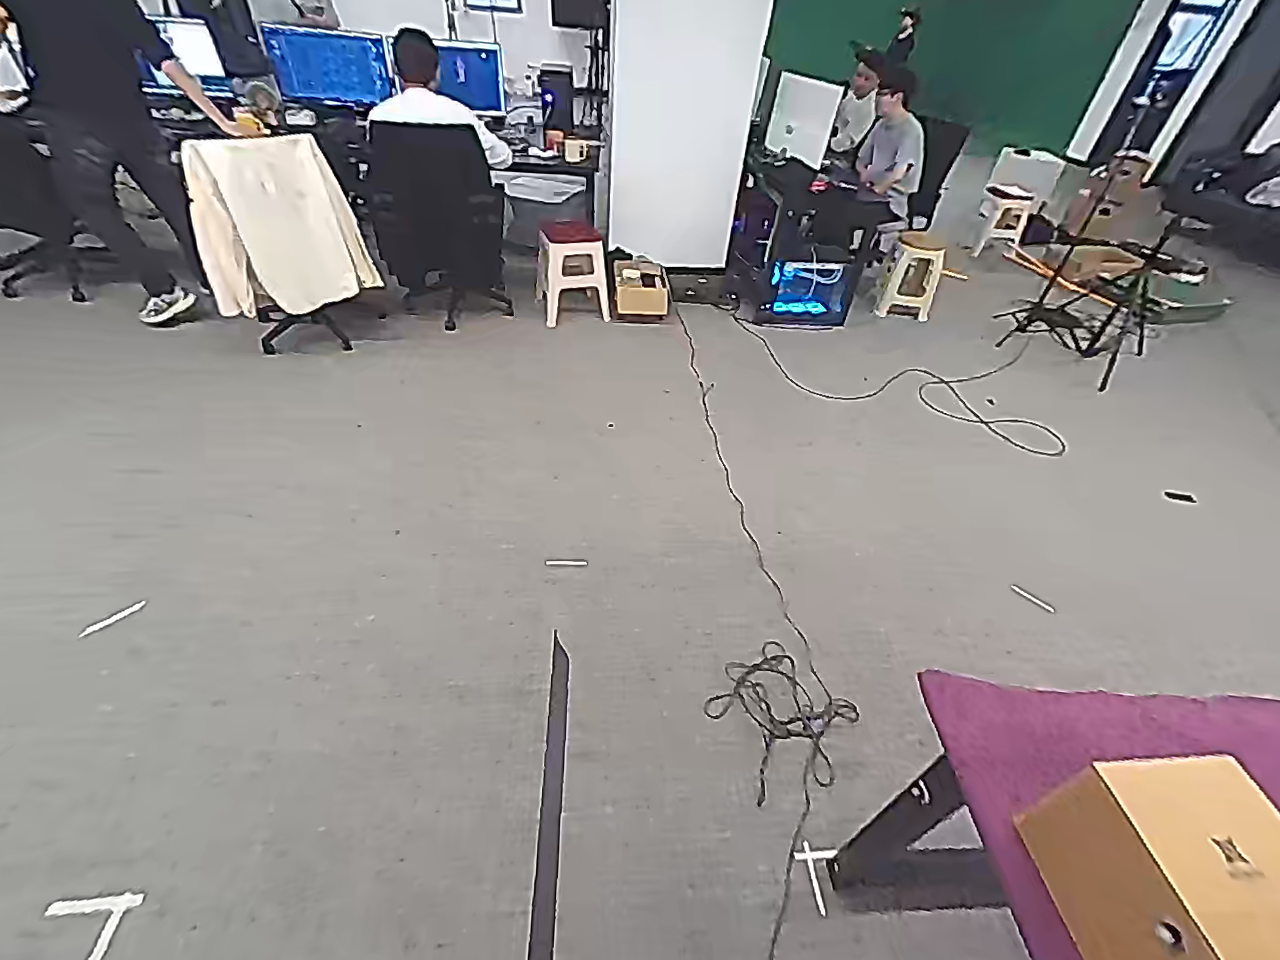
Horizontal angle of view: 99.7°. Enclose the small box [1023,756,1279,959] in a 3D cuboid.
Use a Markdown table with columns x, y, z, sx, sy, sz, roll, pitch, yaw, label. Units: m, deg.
| x | y | z | sx | sy | sz | roll | pitch | yaw | label |
| --- | --- | --- | --- | --- | --- | --- | --- | --- | --- |
| 0.554 | 0.411 | 0.559 | 0.168 | 0.176 | 0.179 | 0 | 42 | -6 | small box |
